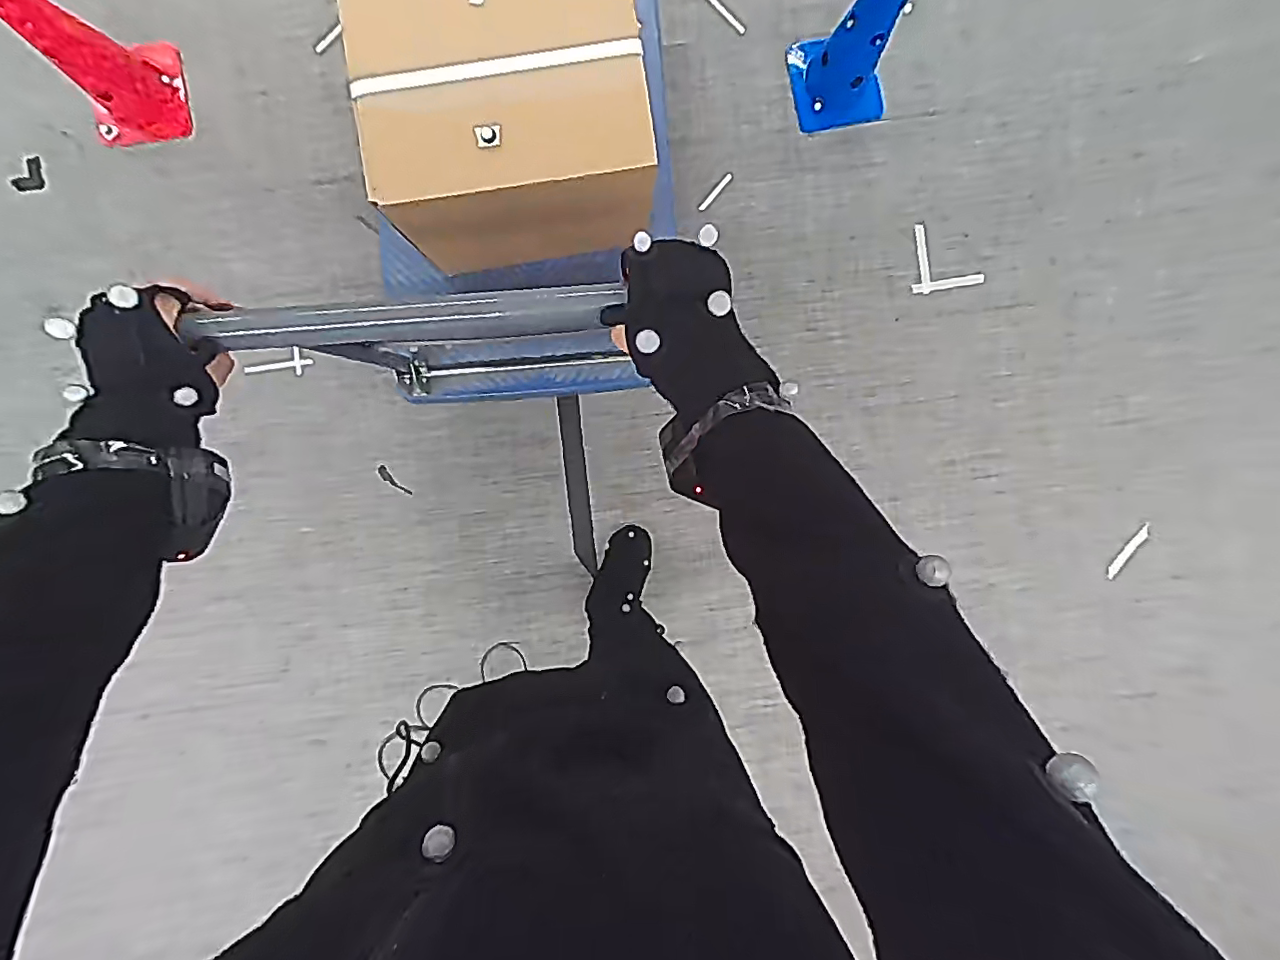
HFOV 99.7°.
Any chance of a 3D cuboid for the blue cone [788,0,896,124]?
[{"bbox_3d":[0.449,-0.909,1.066,0.193,0.380,0.192,-11,92,-2],"label":"blue cone"}]
